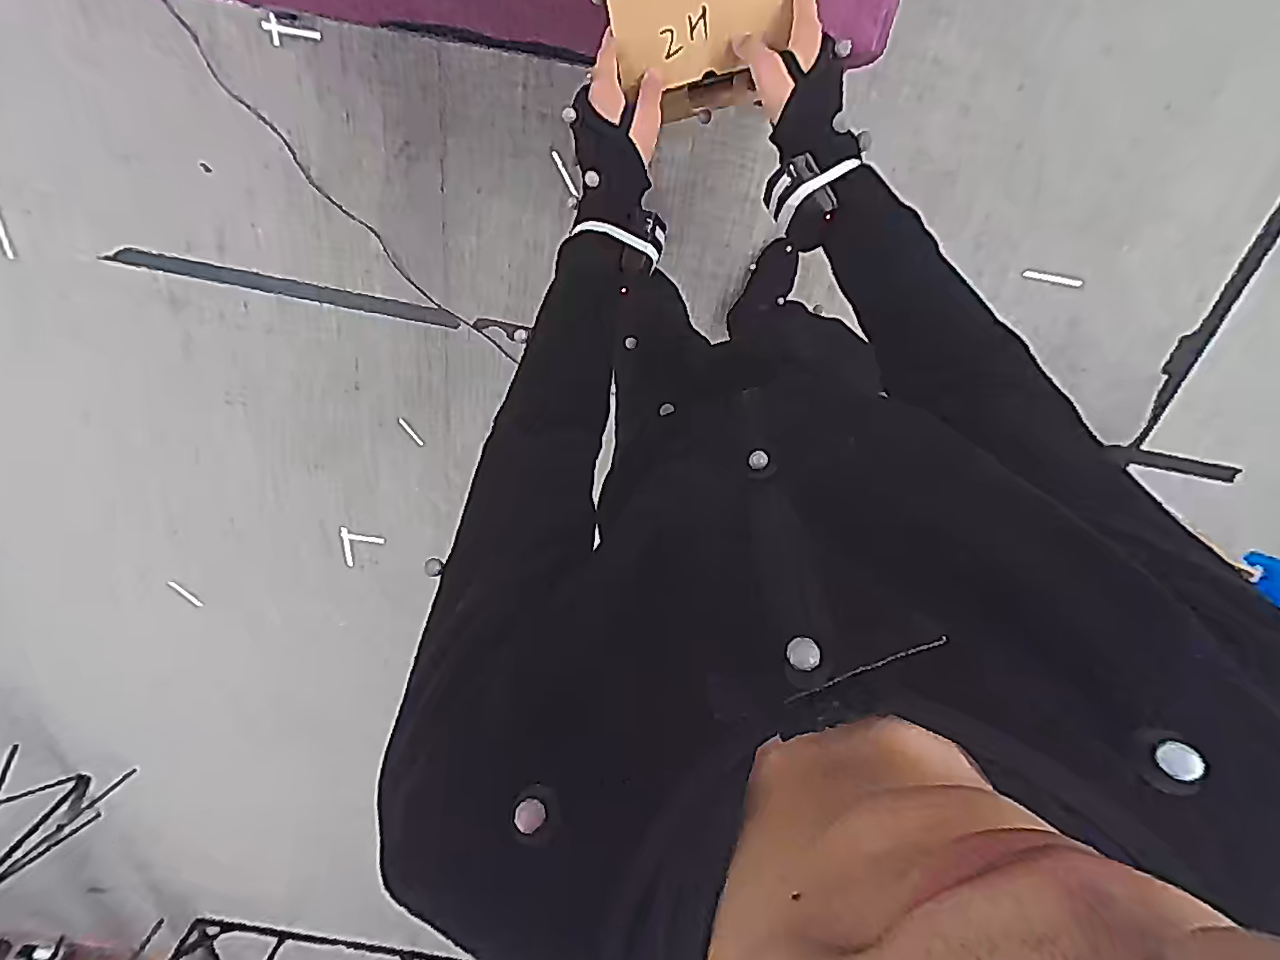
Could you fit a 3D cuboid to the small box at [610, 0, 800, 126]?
[{"bbox_3d":[0.055,-0.482,0.537,0.168,0.176,0.179,-8,114,8],"label":"small box"}]
